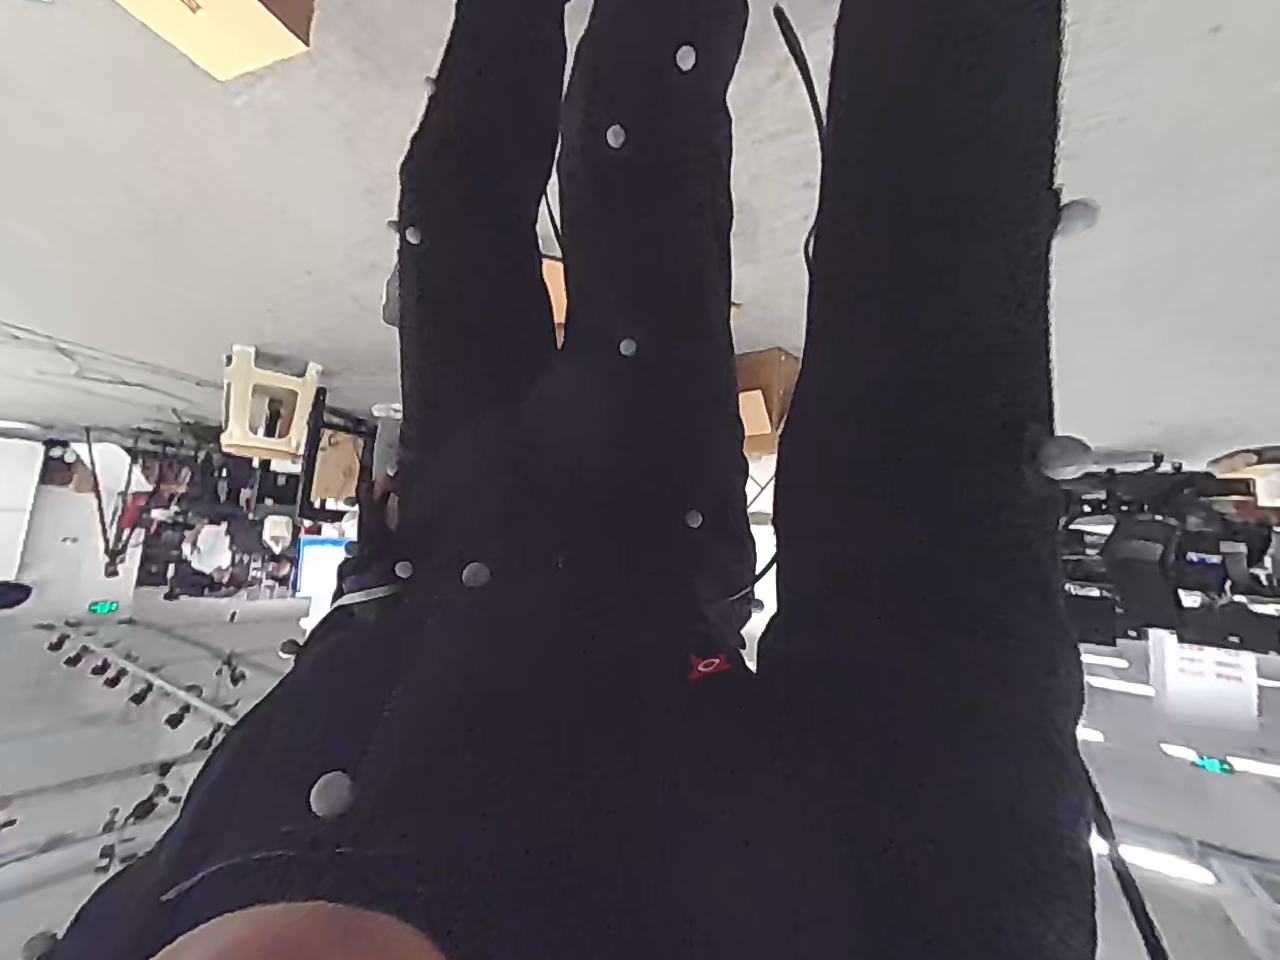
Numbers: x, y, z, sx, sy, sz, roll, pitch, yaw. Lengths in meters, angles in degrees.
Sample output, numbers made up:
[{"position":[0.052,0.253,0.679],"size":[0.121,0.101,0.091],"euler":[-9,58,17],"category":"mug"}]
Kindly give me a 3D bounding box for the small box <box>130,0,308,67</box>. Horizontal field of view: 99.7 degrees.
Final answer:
[{"position":[-0.483,-0.612,0.589],"size":[0.168,0.176,0.179],"euler":[2,173,20],"category":"small box"}]
